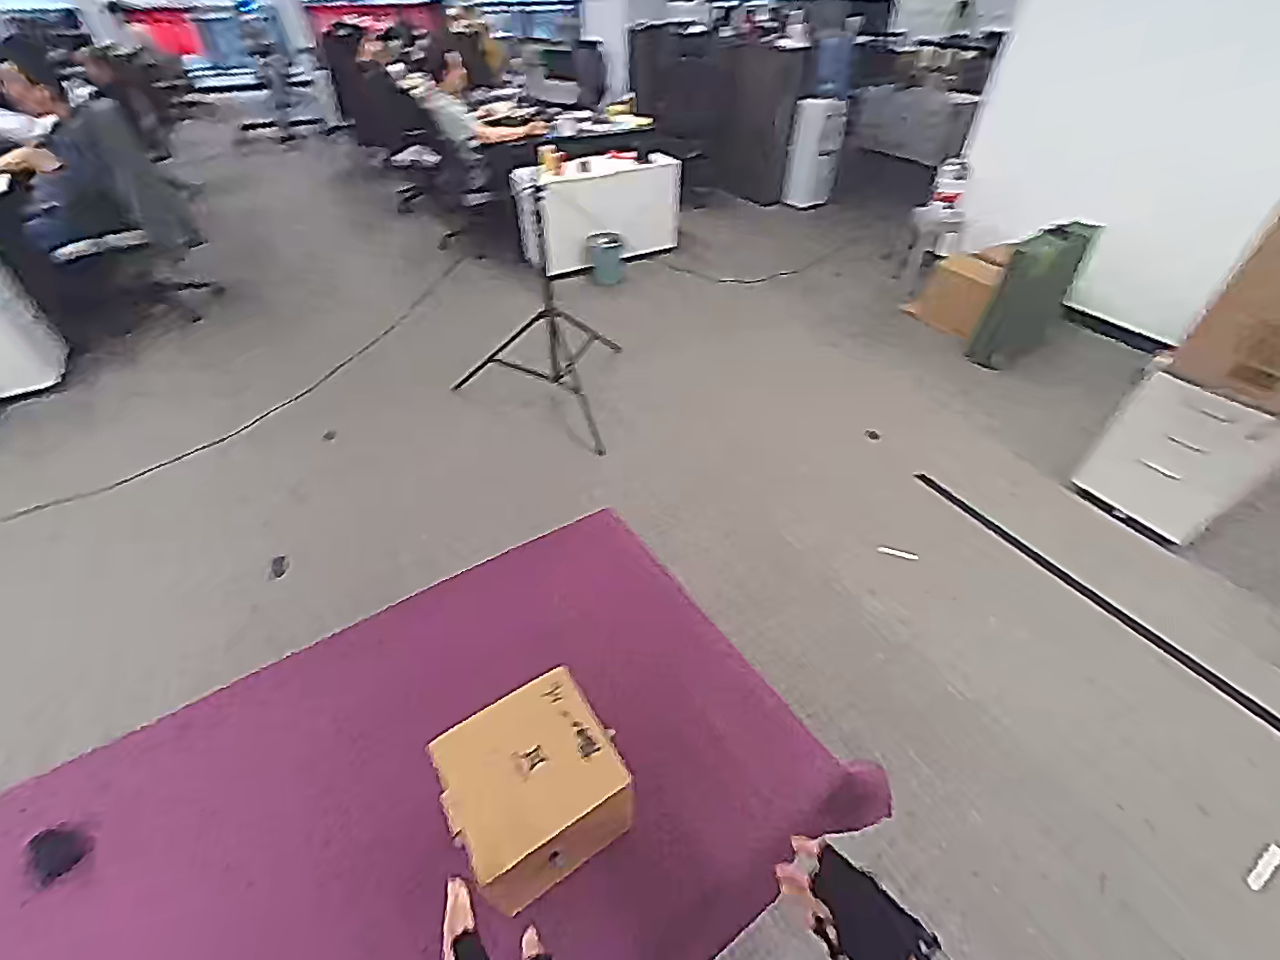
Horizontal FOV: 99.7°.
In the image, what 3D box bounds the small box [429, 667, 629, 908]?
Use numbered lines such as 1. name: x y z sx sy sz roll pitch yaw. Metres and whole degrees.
1. small box: -0.125 0.374 0.659 0.179 0.176 0.168 -26 49 -23
